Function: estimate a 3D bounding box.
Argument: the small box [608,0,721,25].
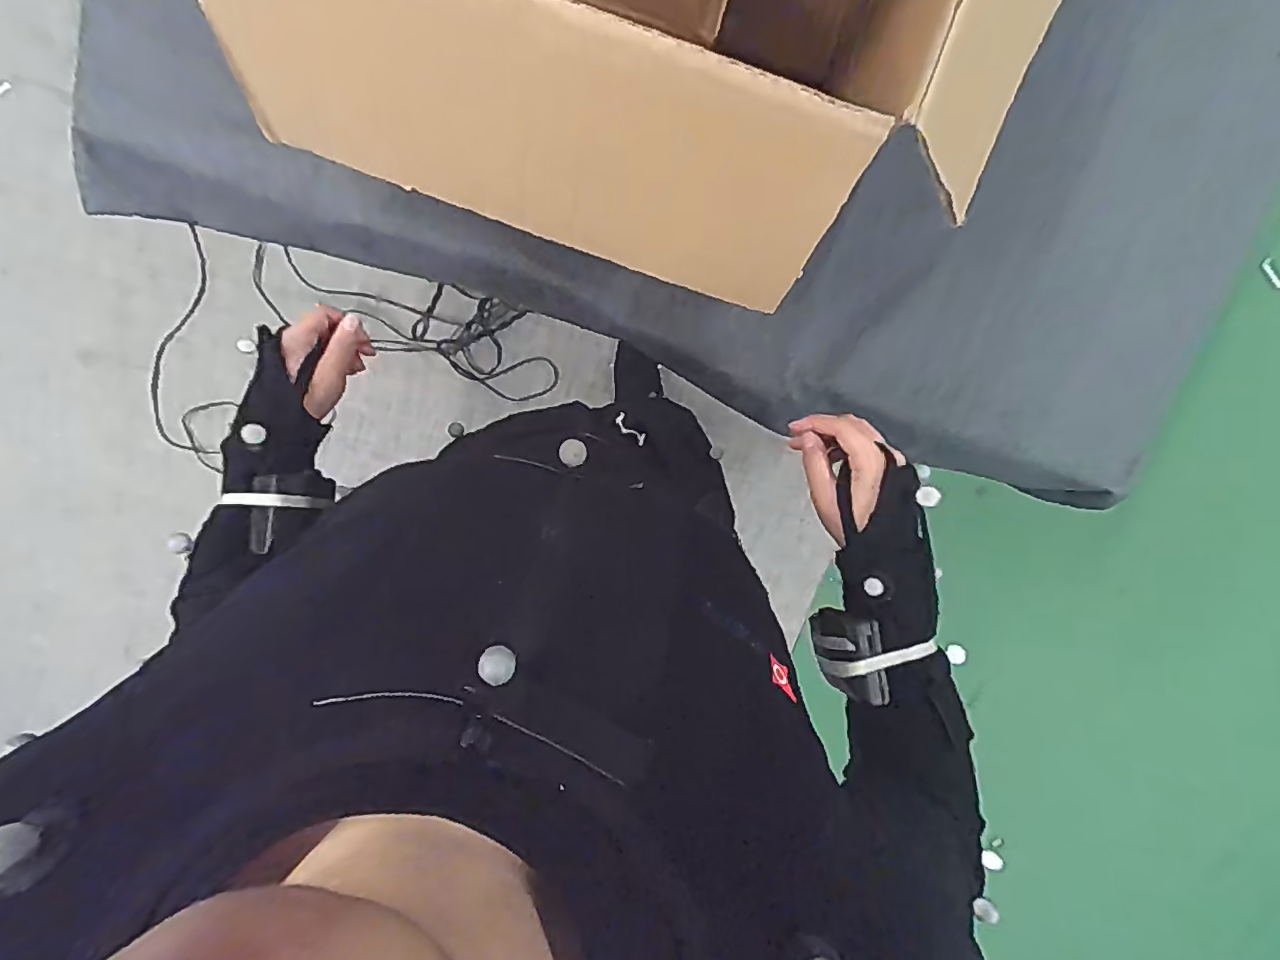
[{"bbox_3d":[-0.002,-0.388,0.276,0.179,0.176,0.168,17,102,-4],"label":"small box"}]
